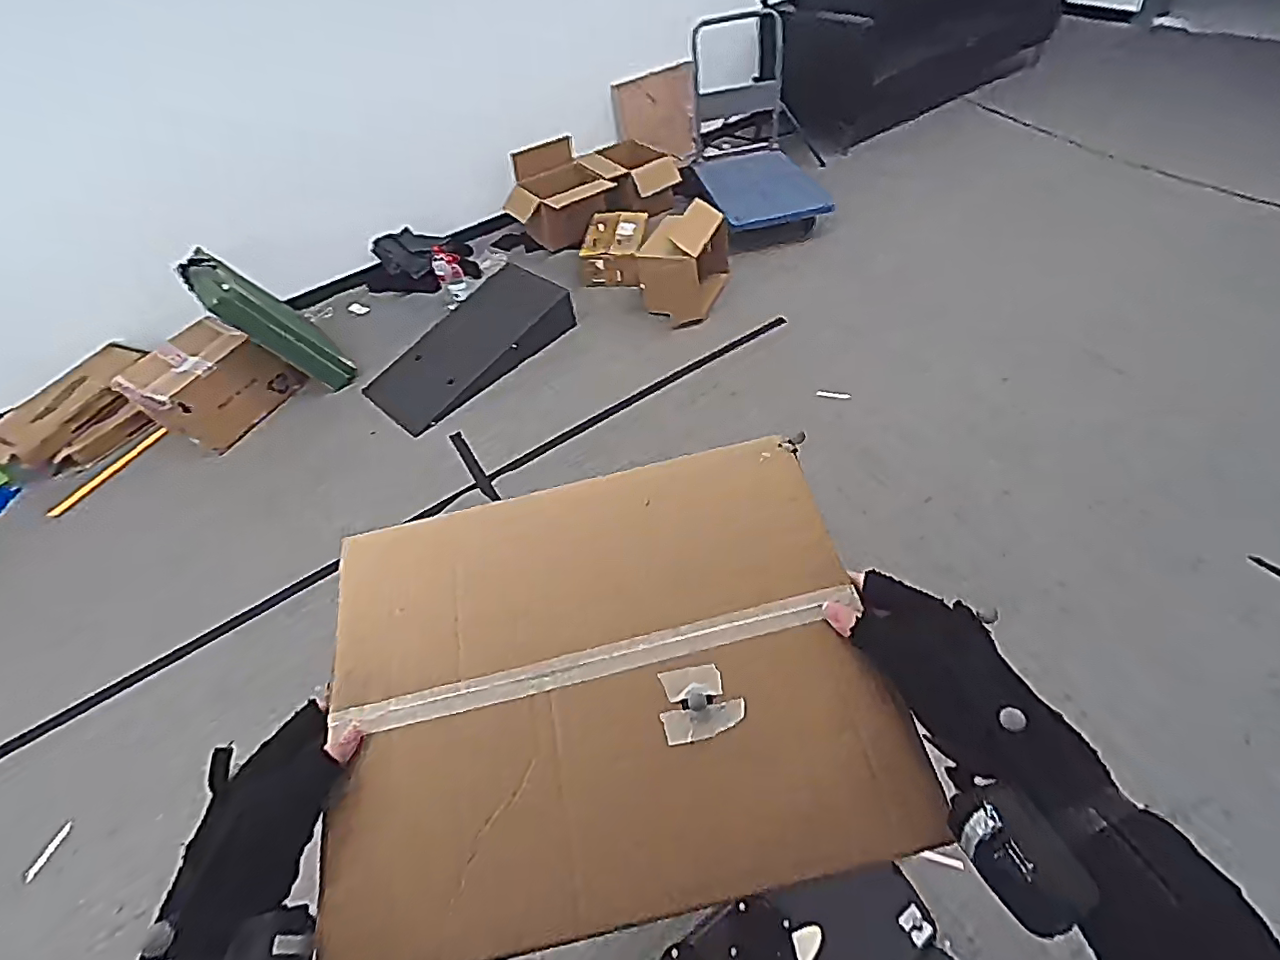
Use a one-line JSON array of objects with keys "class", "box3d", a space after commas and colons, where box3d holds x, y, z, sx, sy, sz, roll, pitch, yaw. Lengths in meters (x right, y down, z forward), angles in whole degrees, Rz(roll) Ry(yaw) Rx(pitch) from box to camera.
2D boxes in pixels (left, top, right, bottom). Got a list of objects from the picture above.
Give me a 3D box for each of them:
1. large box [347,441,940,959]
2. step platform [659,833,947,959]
[{"class": "large box", "box3d": [-0.012, 0.212, 0.548, 0.408, 0.320, 0.320, -13, 61, -1]}, {"class": "step platform", "box3d": [0.301, 0.993, 1.130, 0.684, 0.204, 0.286, -31, 54, -17]}]
